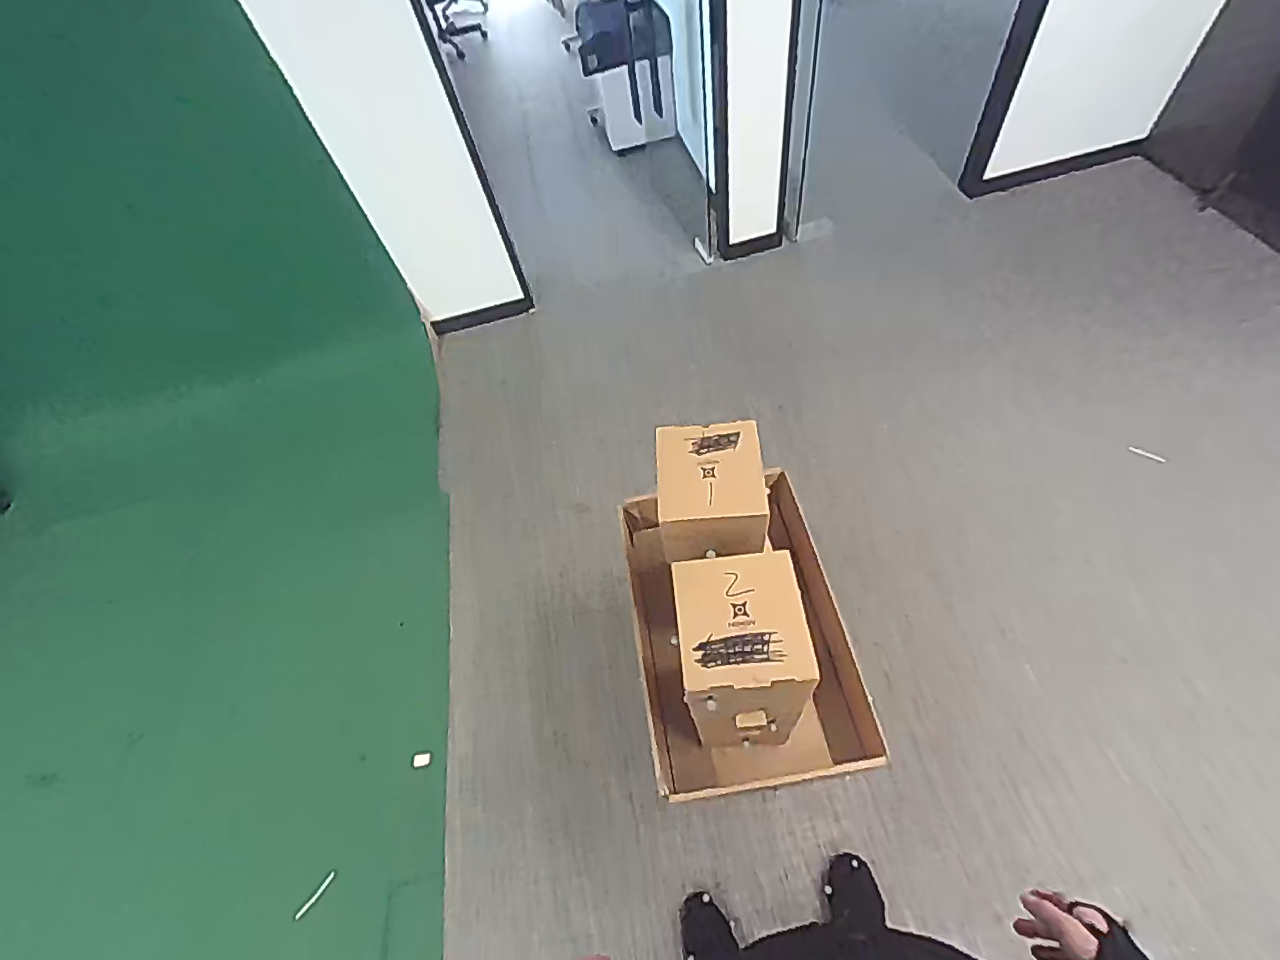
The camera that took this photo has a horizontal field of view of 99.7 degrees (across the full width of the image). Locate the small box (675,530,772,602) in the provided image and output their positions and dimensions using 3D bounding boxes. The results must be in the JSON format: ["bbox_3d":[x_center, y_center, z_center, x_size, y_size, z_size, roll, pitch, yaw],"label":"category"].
[{"bbox_3d":[0.144,0.114,1.040,0.168,0.176,0.179,-12,57,1],"label":"small box"}]

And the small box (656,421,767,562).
[{"bbox_3d":[0.115,0.024,0.906,0.168,0.176,0.179,-4,59,7],"label":"small box"}]

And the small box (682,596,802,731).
[{"bbox_3d":[0.164,0.312,0.900,0.168,0.176,0.179,-6,54,5],"label":"small box"}]
